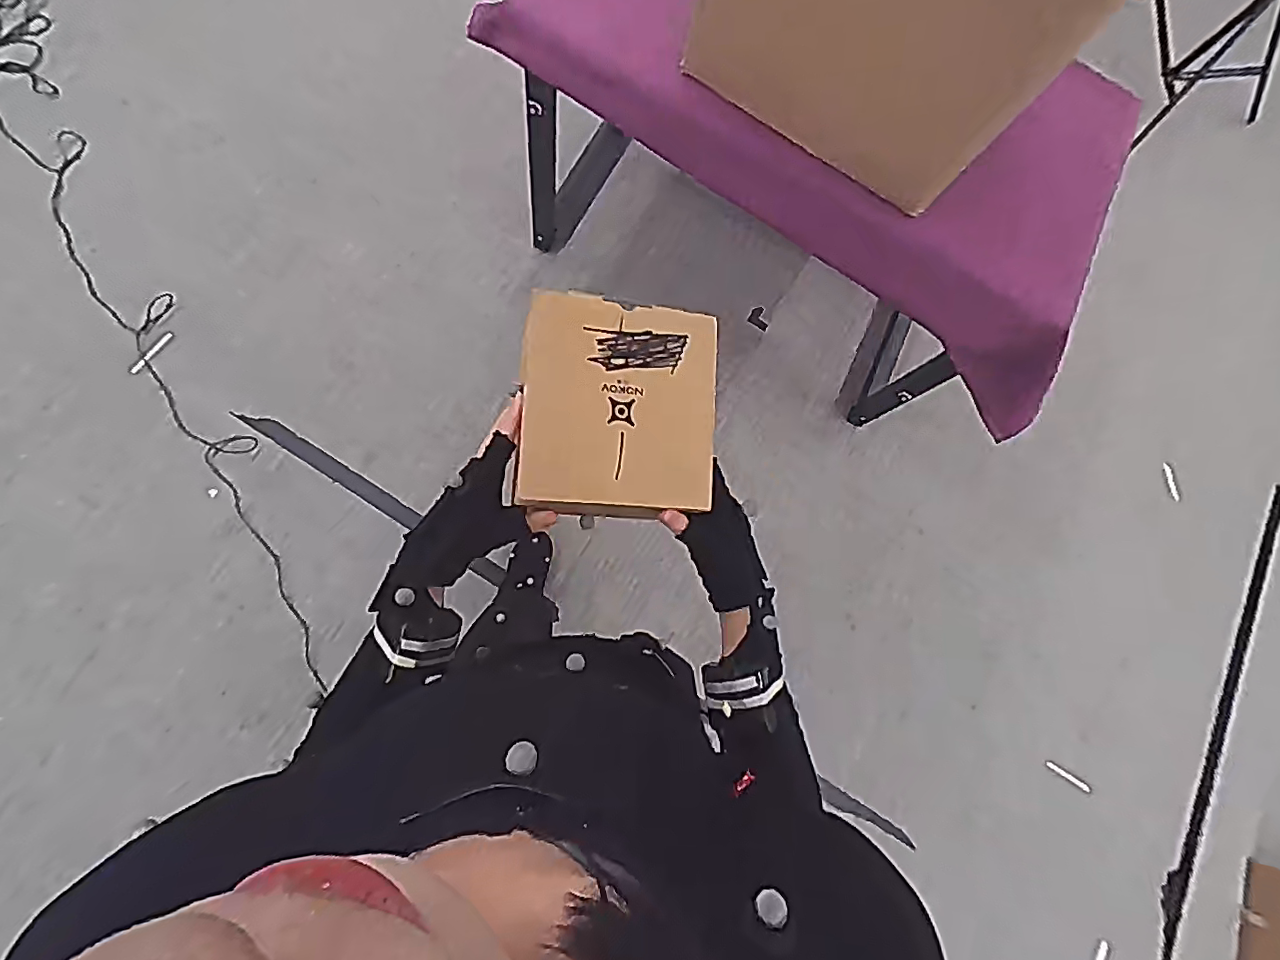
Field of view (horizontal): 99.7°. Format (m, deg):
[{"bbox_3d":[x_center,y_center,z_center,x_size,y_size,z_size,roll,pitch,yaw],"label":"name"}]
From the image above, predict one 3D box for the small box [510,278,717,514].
[{"bbox_3d":[-0.035,-0.063,0.520,0.168,0.176,0.179,3,83,-14],"label":"small box"}]
